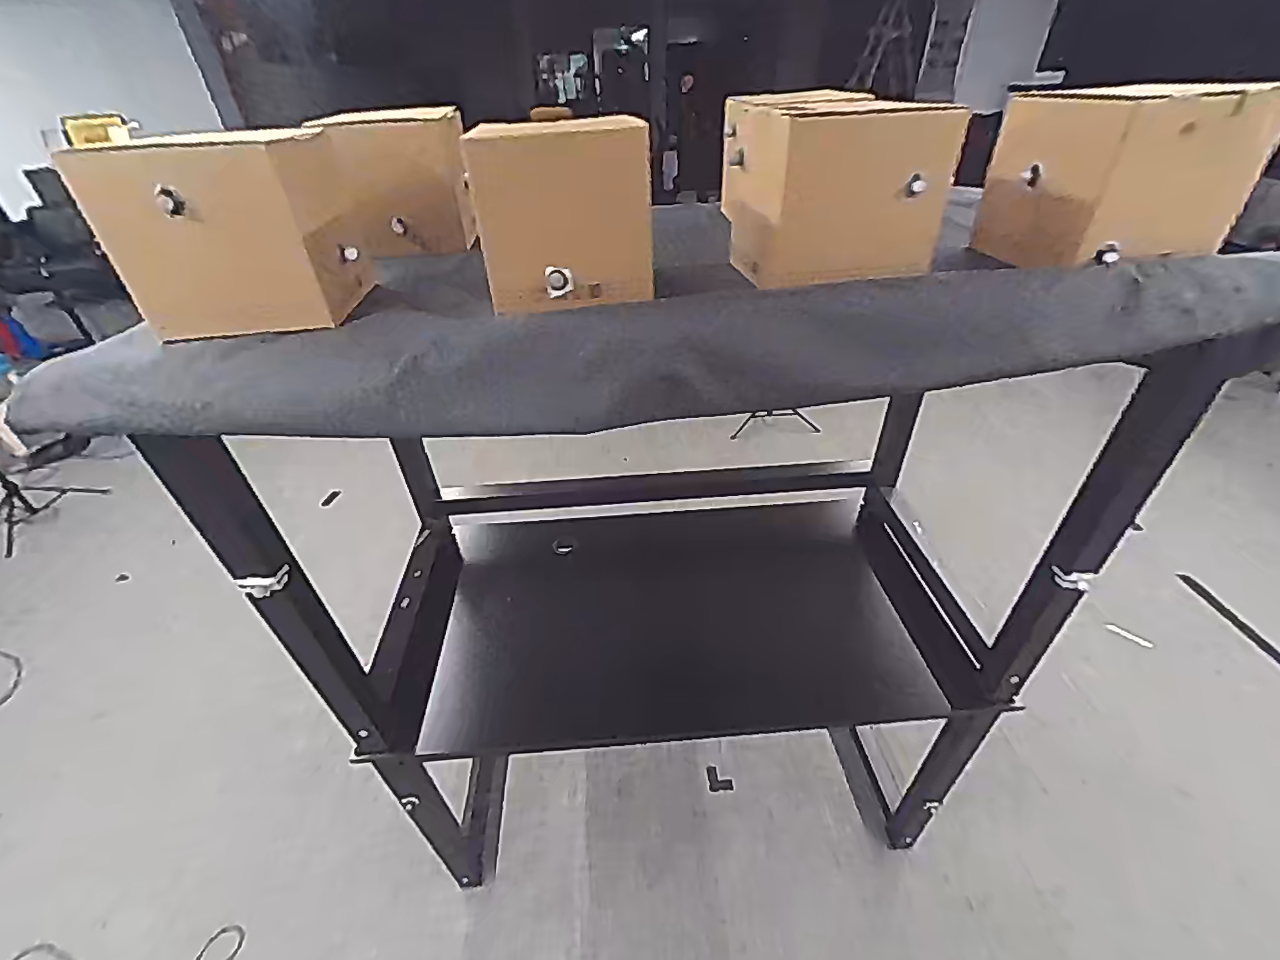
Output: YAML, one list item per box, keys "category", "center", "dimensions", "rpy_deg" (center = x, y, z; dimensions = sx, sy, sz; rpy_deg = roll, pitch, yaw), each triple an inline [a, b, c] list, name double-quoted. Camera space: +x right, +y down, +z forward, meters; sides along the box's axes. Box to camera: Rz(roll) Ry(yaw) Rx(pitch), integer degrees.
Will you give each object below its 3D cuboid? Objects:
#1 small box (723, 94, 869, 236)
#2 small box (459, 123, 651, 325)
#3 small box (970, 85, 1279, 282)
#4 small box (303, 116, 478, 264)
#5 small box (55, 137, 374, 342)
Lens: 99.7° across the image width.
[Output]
- category: "small box"
  center: [0.225, -0.482, 0.832]
  dimensions: [0.168, 0.176, 0.179]
  rpy_deg: [-5, 37, -2]
- category: "small box"
  center: [-0.083, -0.279, 0.583]
  dimensions: [0.168, 0.176, 0.179]
  rpy_deg: [-8, 36, -5]
- category: "small box"
  center: [0.512, -0.325, 0.599]
  dimensions: [0.168, 0.176, 0.179]
  rpy_deg: [-6, 36, -4]
- category: "small box"
  center: [-0.349, -0.431, 0.804]
  dimensions: [0.179, 0.176, 0.168]
  rpy_deg: [-5, 37, -4]
- category: "small box"
  center: [-0.413, -0.254, 0.569]
  dimensions: [0.179, 0.176, 0.168]
  rpy_deg: [-6, 36, -5]
